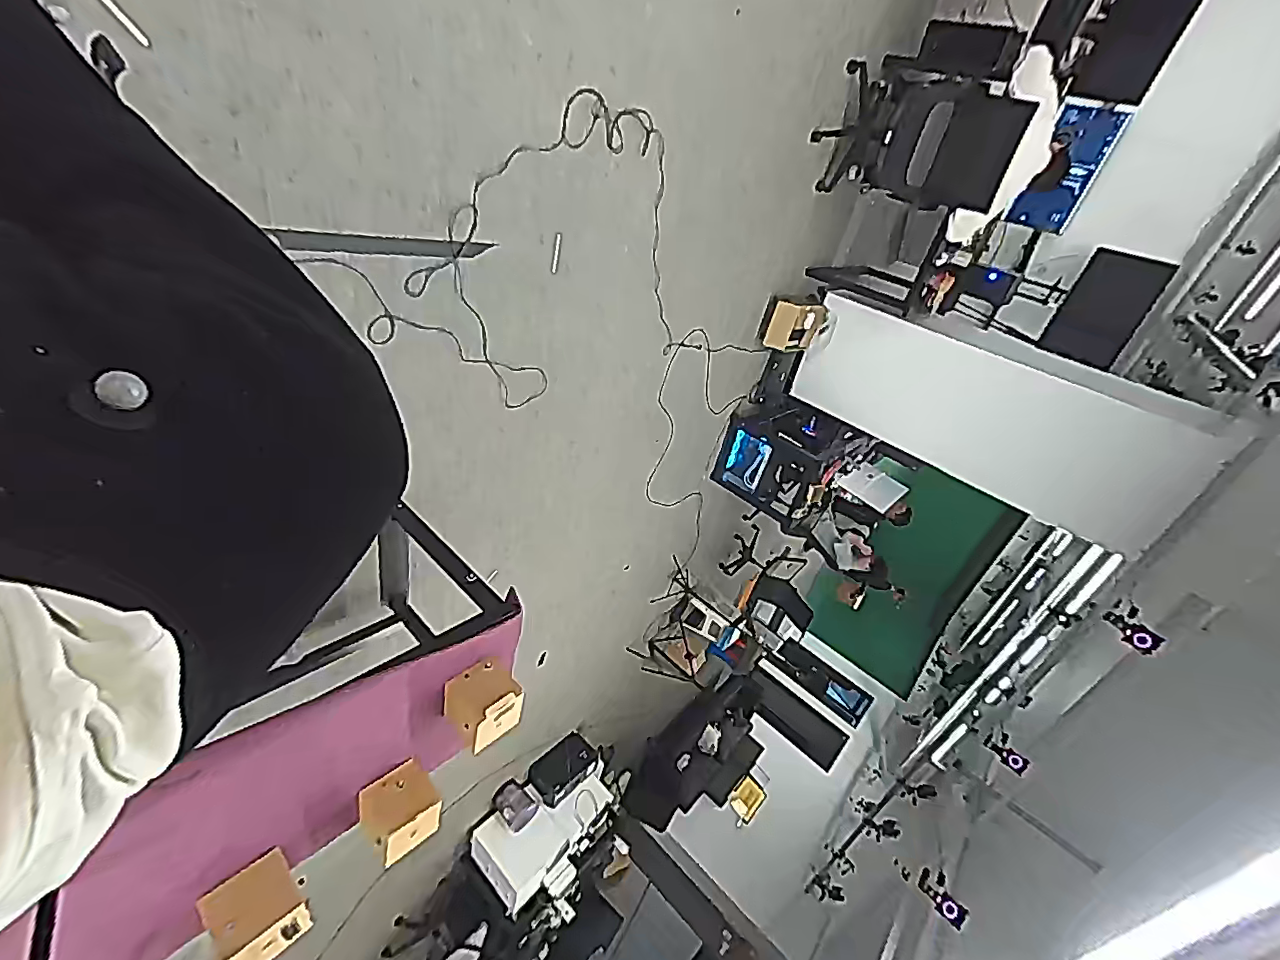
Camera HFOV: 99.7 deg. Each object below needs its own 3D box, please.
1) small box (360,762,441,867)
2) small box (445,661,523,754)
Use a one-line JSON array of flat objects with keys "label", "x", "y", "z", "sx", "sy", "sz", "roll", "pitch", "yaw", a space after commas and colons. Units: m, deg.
[{"label": "small box", "x": -0.719, "y": 0.992, "z": 1.617, "sx": 0.168, "sy": 0.176, "sz": 0.179, "roll": -20, "pitch": 135, "yaw": -47}, {"label": "small box", "x": -0.483, "y": 0.686, "z": 1.660, "sx": 0.168, "sy": 0.176, "sz": 0.179, "roll": -24, "pitch": 140, "yaw": -44}]
